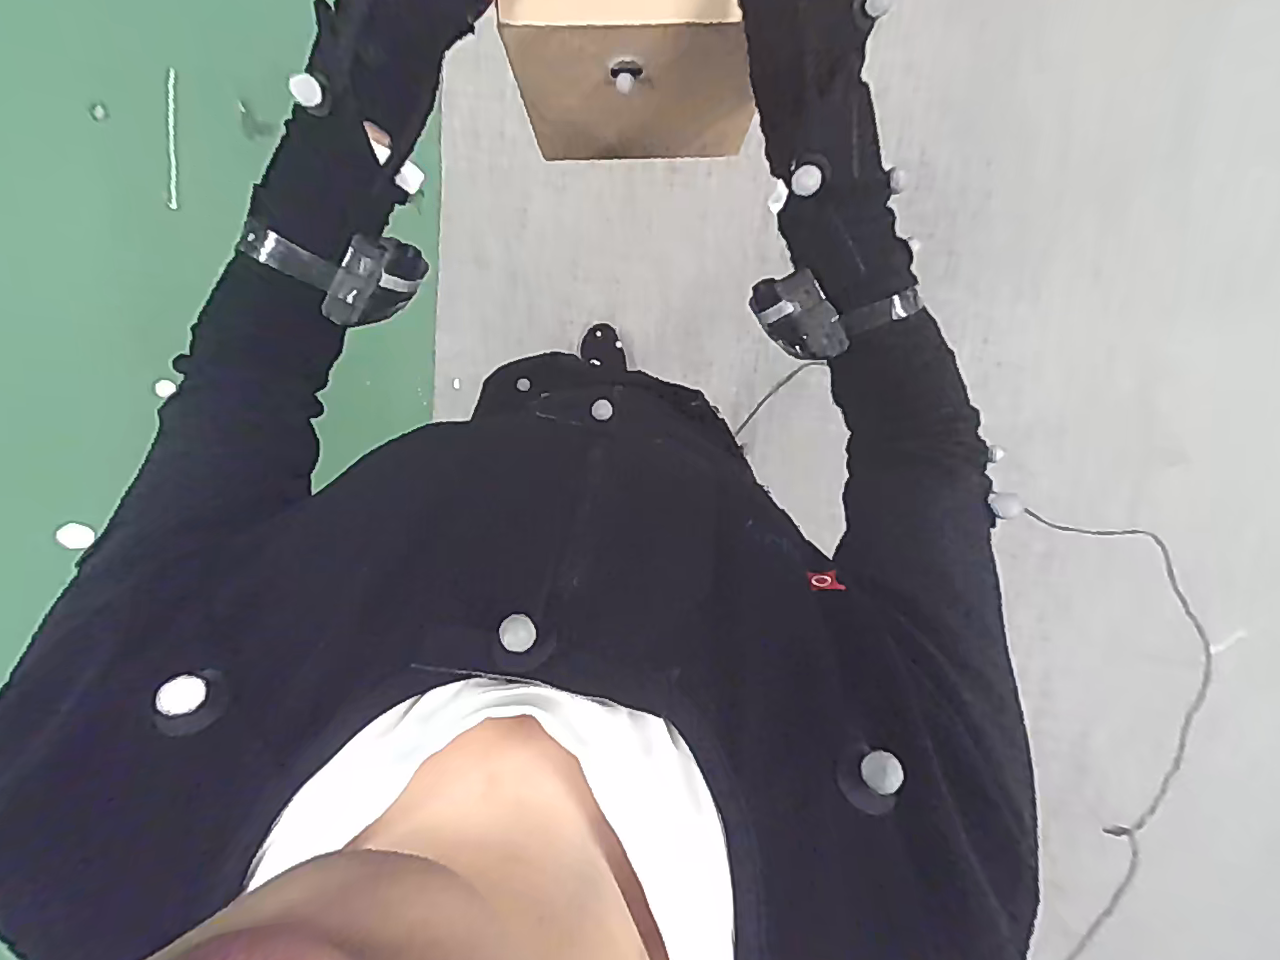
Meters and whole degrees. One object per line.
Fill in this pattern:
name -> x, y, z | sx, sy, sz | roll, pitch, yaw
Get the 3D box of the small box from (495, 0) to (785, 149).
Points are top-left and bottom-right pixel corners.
small box -> -0.002, -0.365, 0.393 | 0.179, 0.176, 0.168 | -1, 97, -2
